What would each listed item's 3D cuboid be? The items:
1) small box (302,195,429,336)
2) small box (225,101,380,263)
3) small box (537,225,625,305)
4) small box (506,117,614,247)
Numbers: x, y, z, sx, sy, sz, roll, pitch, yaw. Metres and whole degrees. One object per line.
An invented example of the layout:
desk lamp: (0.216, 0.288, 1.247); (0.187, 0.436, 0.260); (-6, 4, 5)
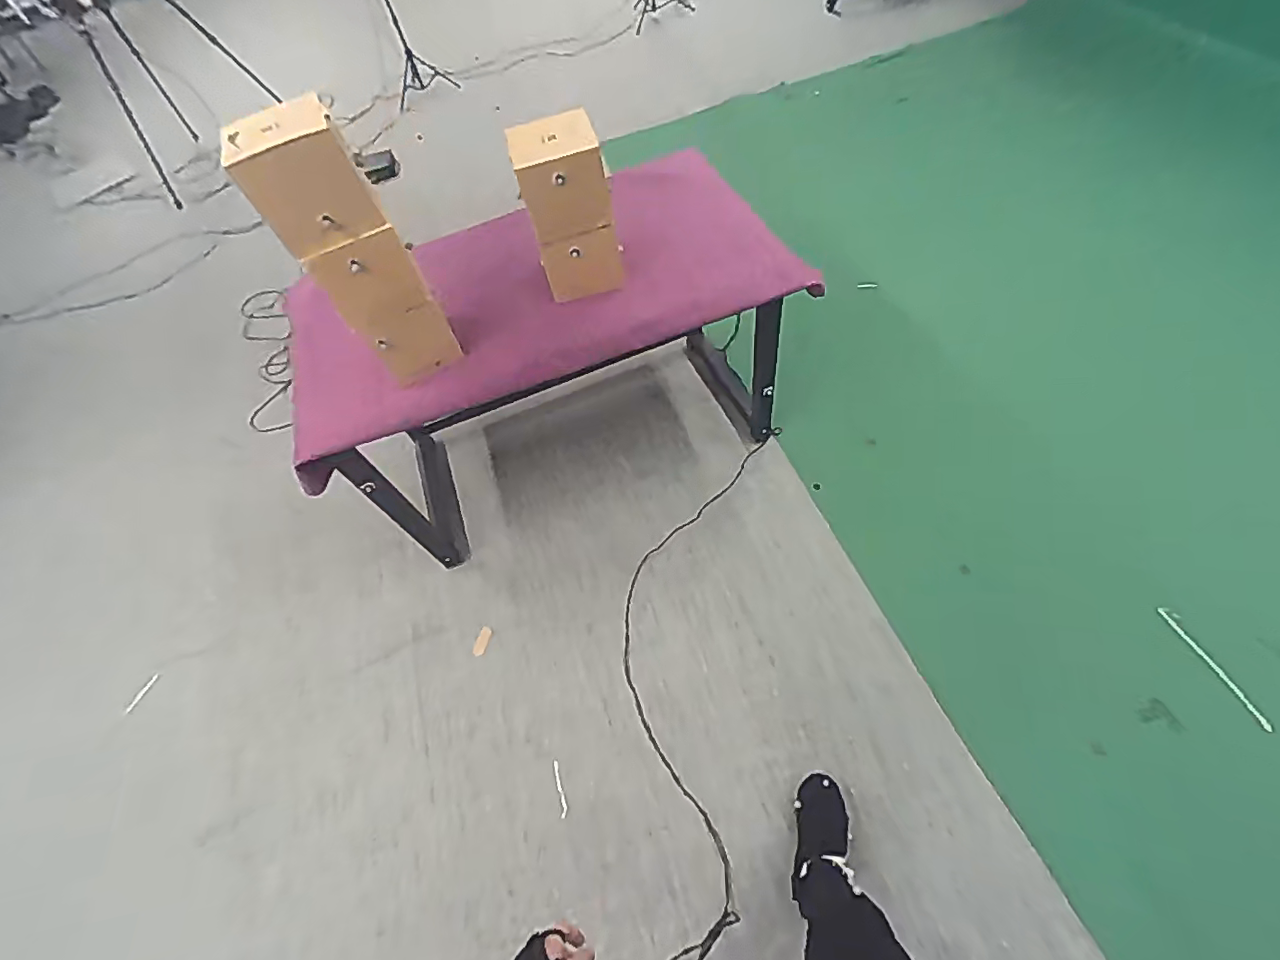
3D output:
small box: (-0.544, -0.424, 1.079); (0.179, 0.176, 0.168); (-27, 57, -7)
small box: (-0.581, -0.519, 0.950); (0.179, 0.176, 0.168); (-26, 56, -7)
small box: (-0.143, -0.543, 1.285); (0.179, 0.176, 0.168); (-14, 57, -1)
small box: (-0.166, -0.625, 1.146); (0.179, 0.176, 0.168); (-15, 58, -1)
